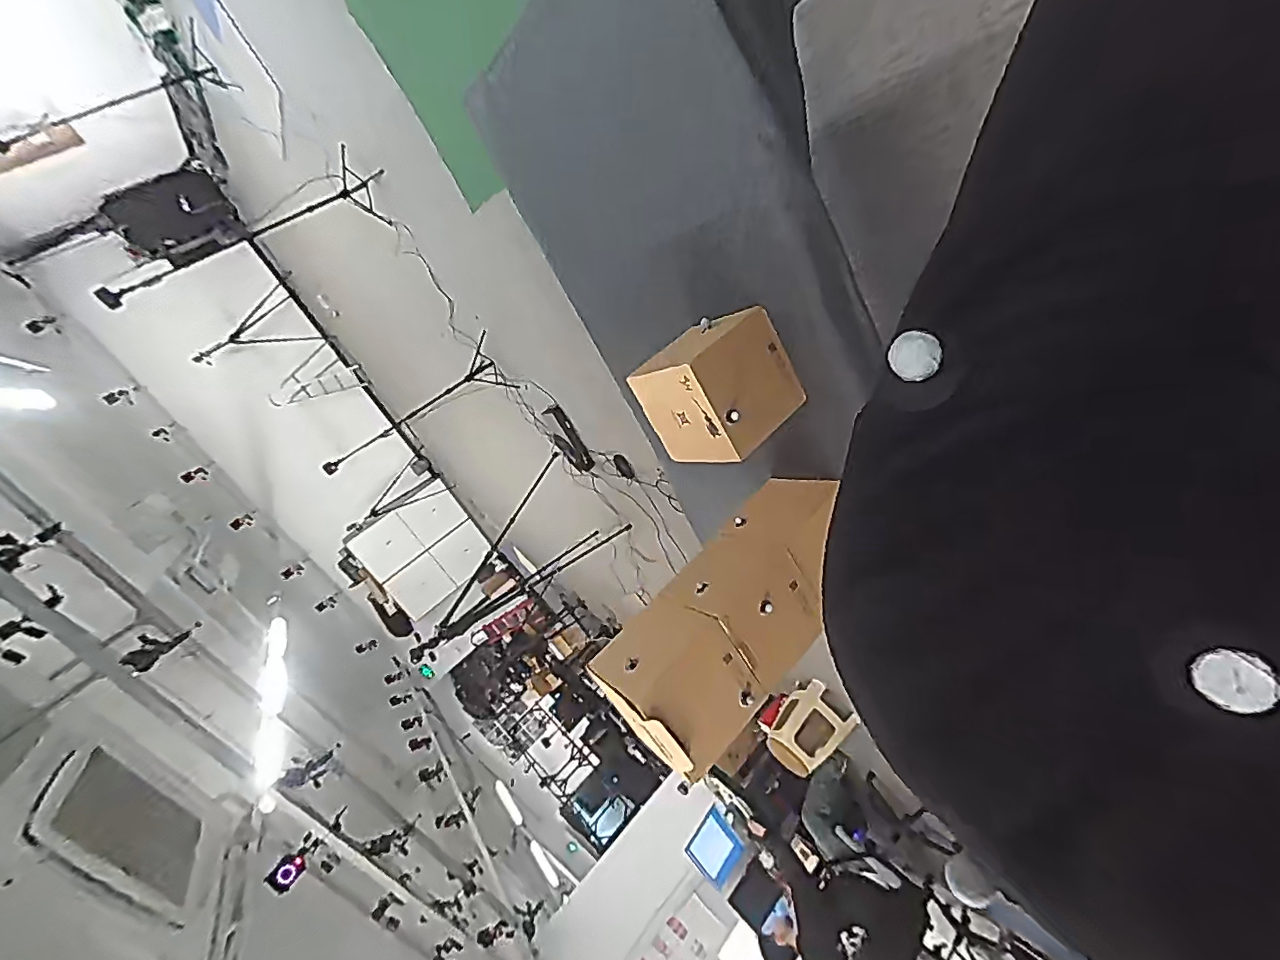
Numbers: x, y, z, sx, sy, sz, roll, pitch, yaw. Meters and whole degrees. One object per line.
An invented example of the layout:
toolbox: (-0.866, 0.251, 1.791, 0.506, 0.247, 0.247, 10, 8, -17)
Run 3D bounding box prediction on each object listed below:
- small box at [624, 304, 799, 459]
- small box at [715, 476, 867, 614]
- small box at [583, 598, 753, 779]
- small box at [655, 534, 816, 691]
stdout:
small box: (0.112, -0.150, 0.847, 0.179, 0.176, 0.168, 6, 132, 59)
small box: (0.275, 0.106, 0.961, 0.168, 0.176, 0.179, 57, 156, -19)
small box: (0.049, 0.306, 0.834, 0.168, 0.176, 0.179, 57, 157, -16)
small box: (0.165, 0.206, 0.896, 0.168, 0.176, 0.179, 58, 157, -17)
